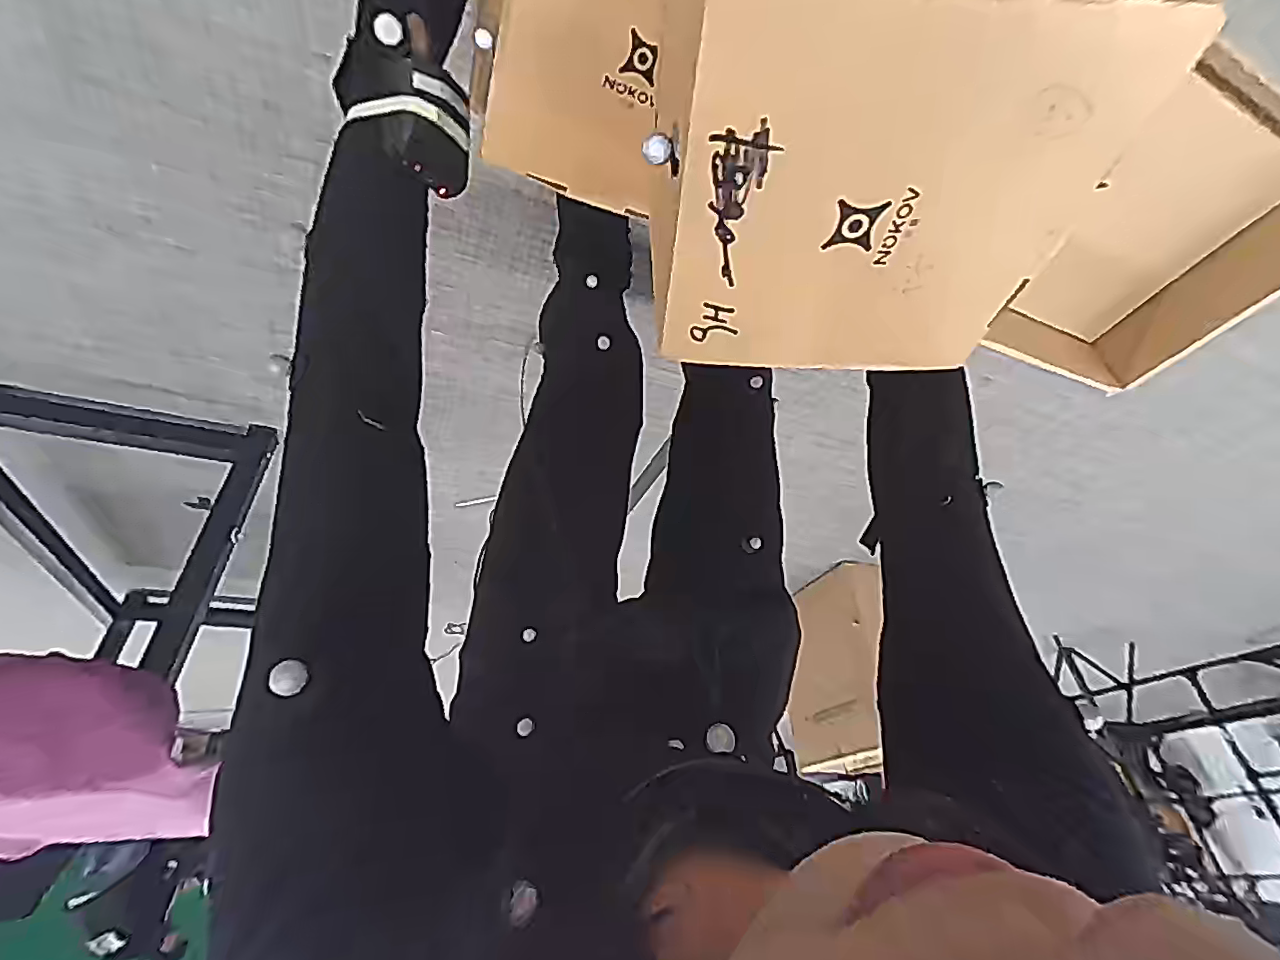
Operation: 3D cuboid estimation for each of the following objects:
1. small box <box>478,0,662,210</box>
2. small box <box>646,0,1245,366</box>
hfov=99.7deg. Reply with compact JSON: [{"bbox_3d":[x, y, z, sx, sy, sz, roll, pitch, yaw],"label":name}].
[{"bbox_3d":[-0.005,-0.314,0.359,0.168,0.176,0.179,9,142,-19],"label":"small box"},{"bbox_3d":[0.100,-0.178,0.274,0.179,0.176,0.168,1,145,-4],"label":"small box"}]
